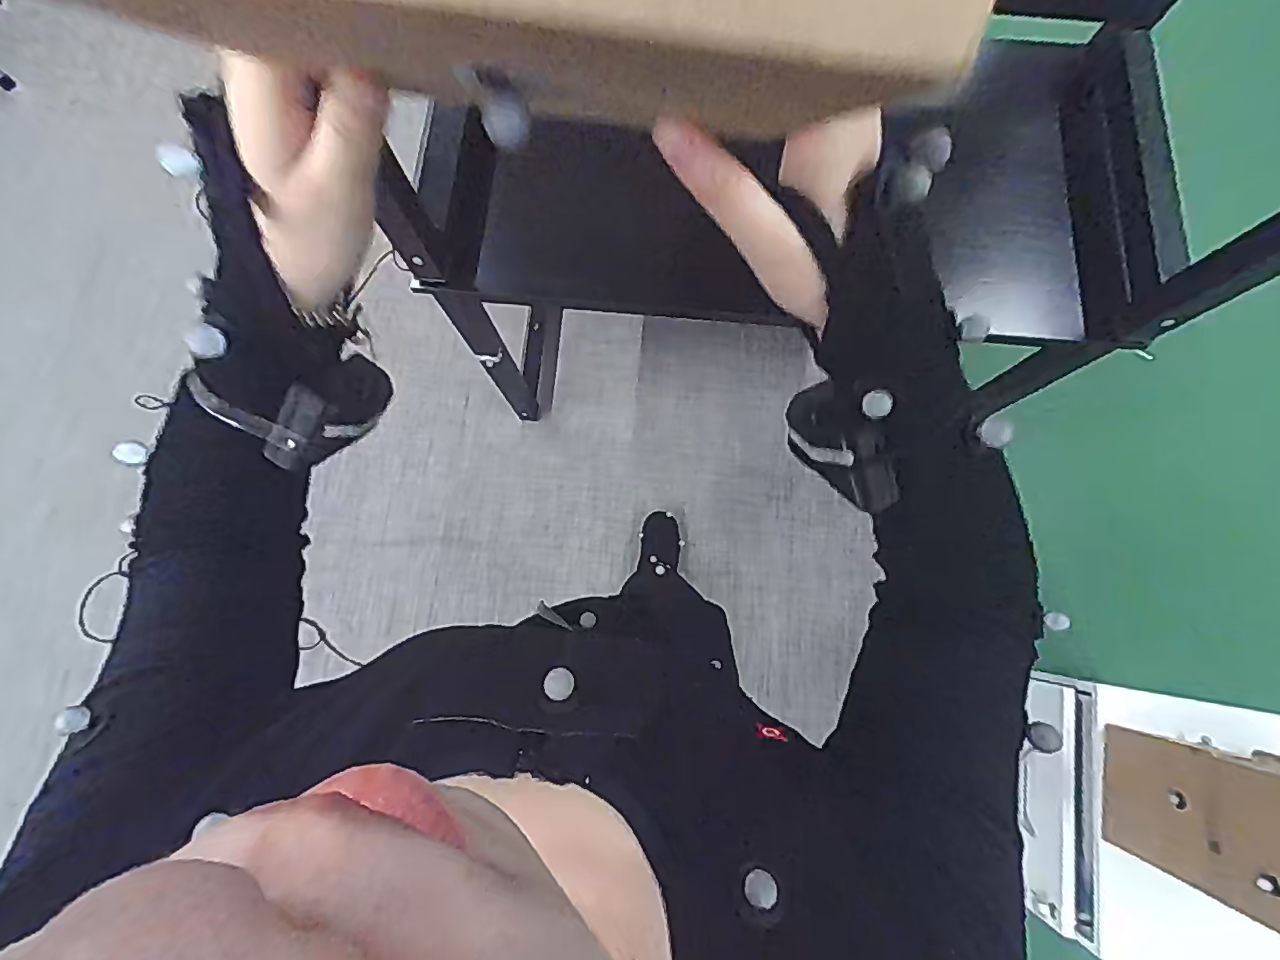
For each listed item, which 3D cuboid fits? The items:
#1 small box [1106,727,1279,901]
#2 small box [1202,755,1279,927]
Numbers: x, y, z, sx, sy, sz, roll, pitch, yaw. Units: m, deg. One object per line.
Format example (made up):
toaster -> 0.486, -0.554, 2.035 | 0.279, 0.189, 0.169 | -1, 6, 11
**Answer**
small box -> 0.809, 0.469, 0.763 | 0.168, 0.176, 0.179 | 12, 79, 2
small box -> 0.793, 0.428, 0.607 | 0.179, 0.176, 0.168 | 9, 79, 1
